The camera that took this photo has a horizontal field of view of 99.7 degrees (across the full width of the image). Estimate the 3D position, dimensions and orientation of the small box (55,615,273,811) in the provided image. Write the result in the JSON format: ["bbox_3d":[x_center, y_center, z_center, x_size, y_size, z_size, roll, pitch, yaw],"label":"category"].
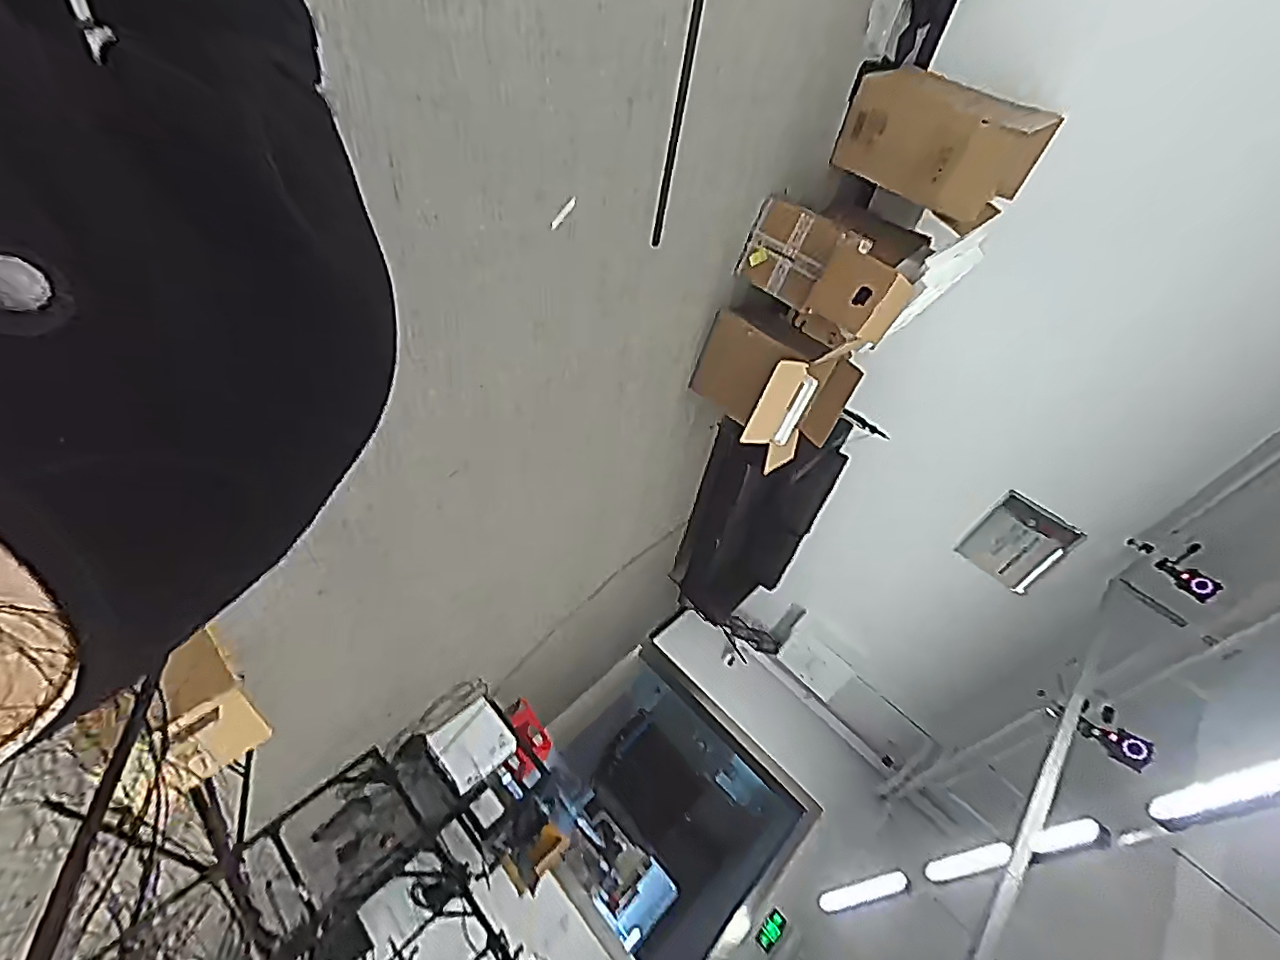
[{"bbox_3d":[-0.675,0.322,0.777,0.168,0.176,0.179,-31,149,-36],"label":"small box"}]
